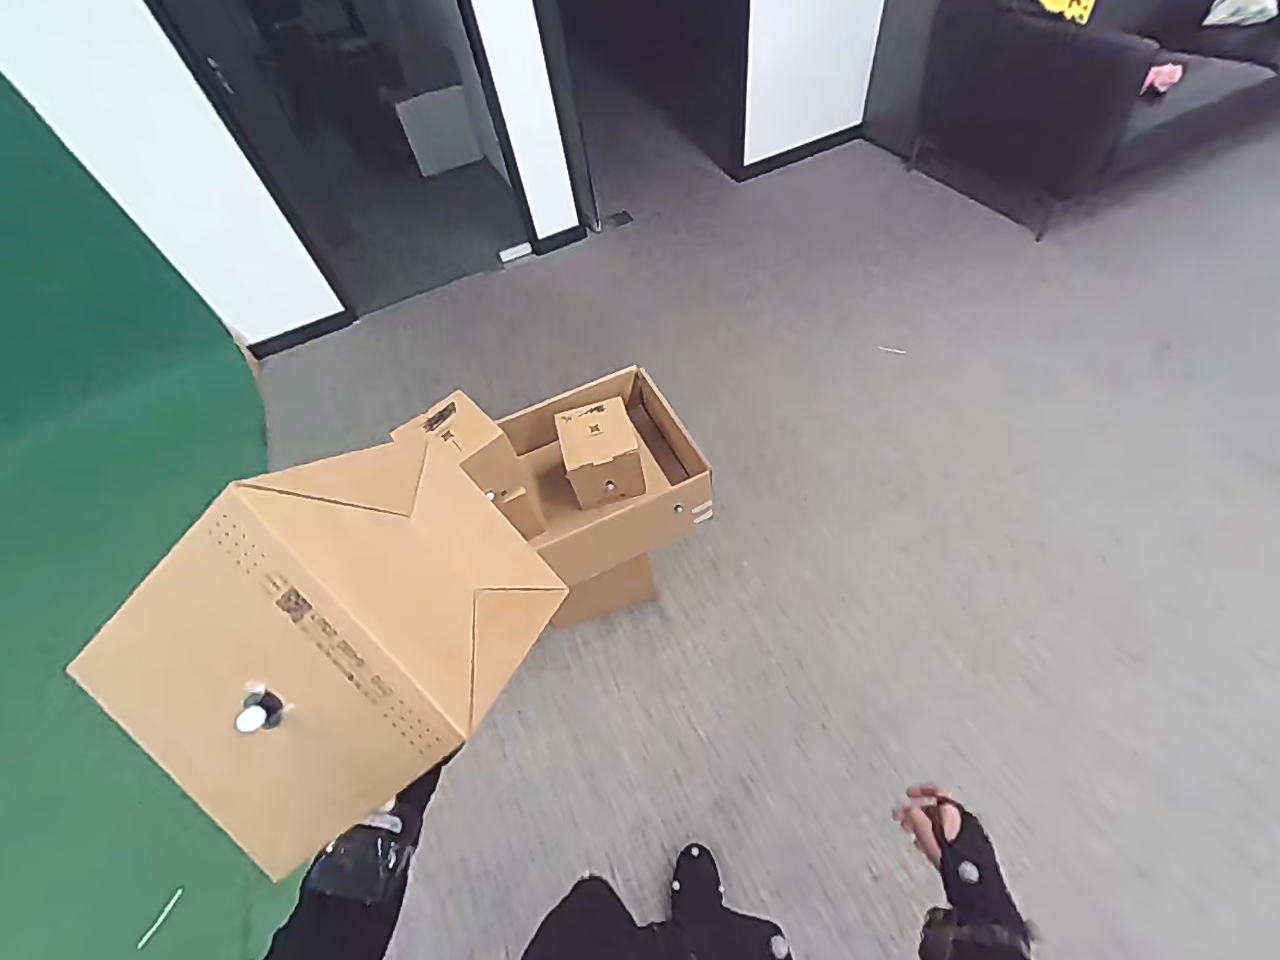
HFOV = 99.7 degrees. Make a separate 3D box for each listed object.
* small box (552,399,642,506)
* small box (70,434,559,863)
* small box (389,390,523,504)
[{"bbox_3d":[-0.097,-0.056,1.274,0.168,0.176,0.179,-15,54,-3],"label":"small box"},{"bbox_3d":[-0.183,0.087,0.357,0.176,0.179,0.168,-39,93,14],"label":"small box"},{"bbox_3d":[-0.365,-0.044,1.096,0.168,0.176,0.179,-38,59,-18],"label":"small box"}]
